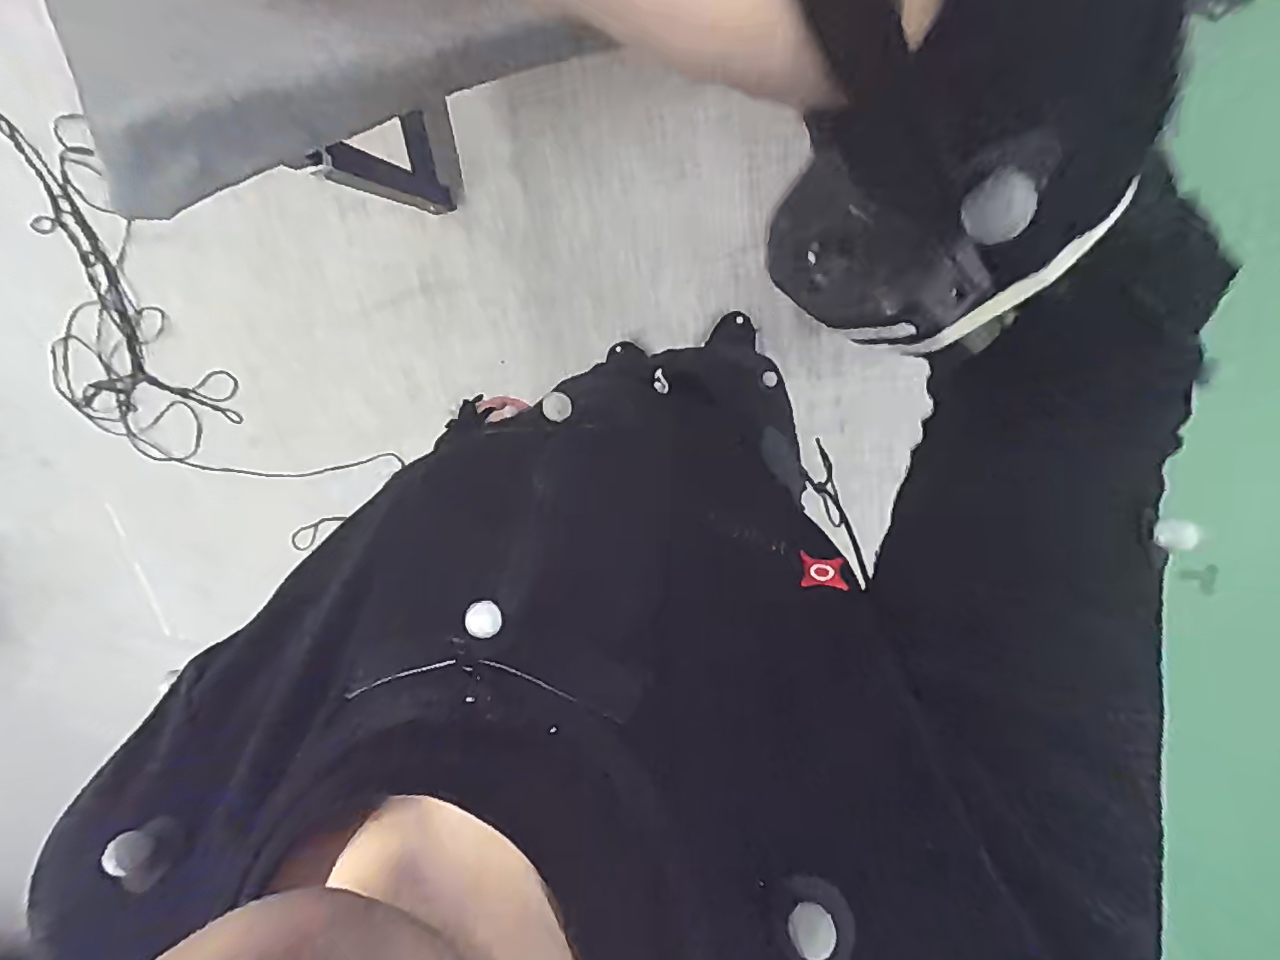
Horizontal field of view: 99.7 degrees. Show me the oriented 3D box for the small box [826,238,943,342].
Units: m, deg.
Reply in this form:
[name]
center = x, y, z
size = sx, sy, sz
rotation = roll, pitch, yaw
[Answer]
[small box]
center = 0.500, -0.388, 1.124
size = 0.179, 0.176, 0.168
rotation = -9, 103, 11
